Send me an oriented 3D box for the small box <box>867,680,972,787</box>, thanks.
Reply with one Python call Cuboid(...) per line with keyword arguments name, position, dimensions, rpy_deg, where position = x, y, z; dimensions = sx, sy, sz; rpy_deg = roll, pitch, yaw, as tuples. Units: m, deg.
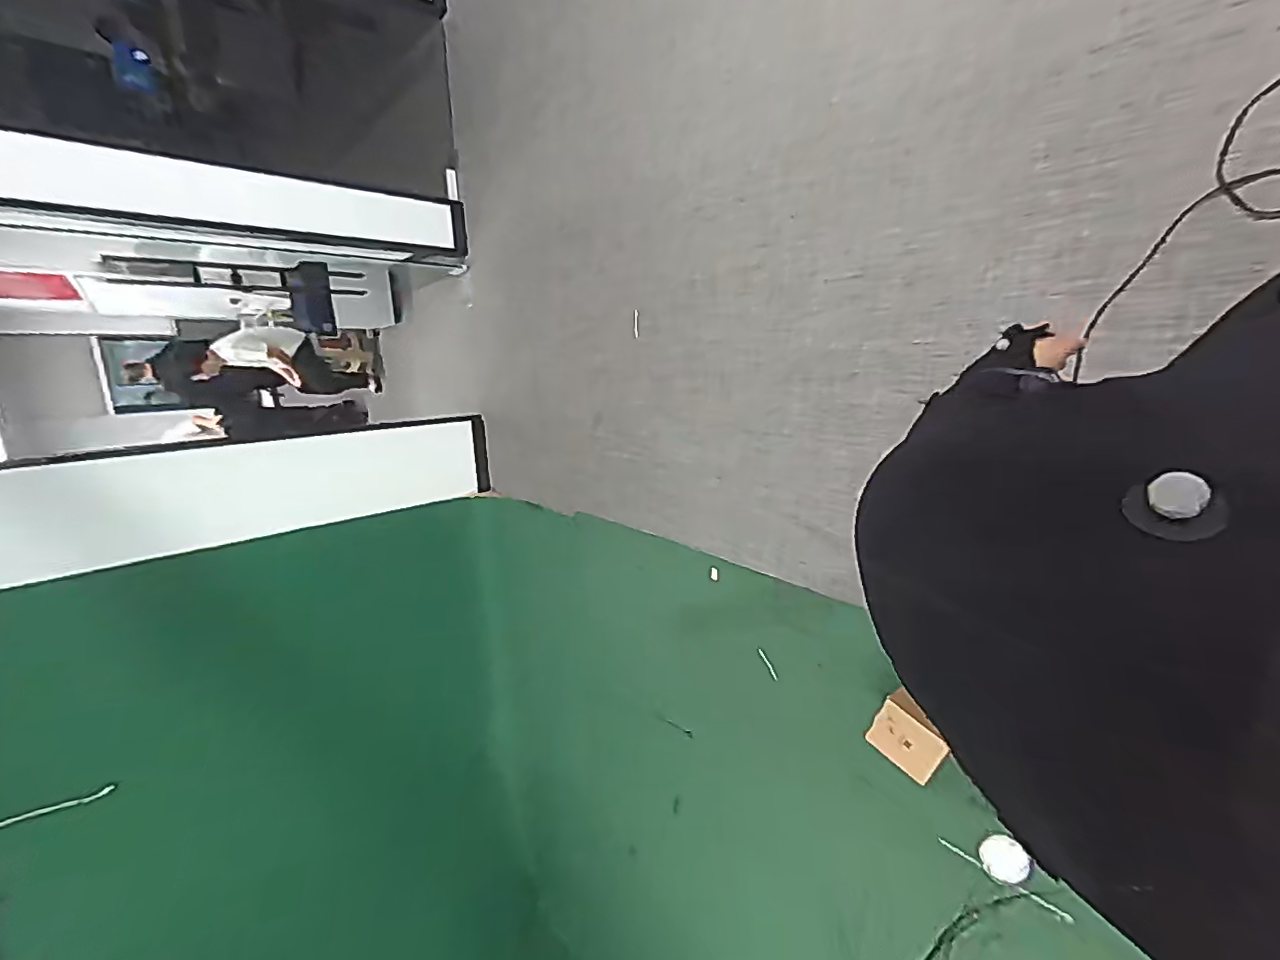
Cuboid(name="small box", position=(0.769, 0.685, 1.484), dimensions=(0.179, 0.176, 0.168), rpy_deg=(36, 124, 38))
